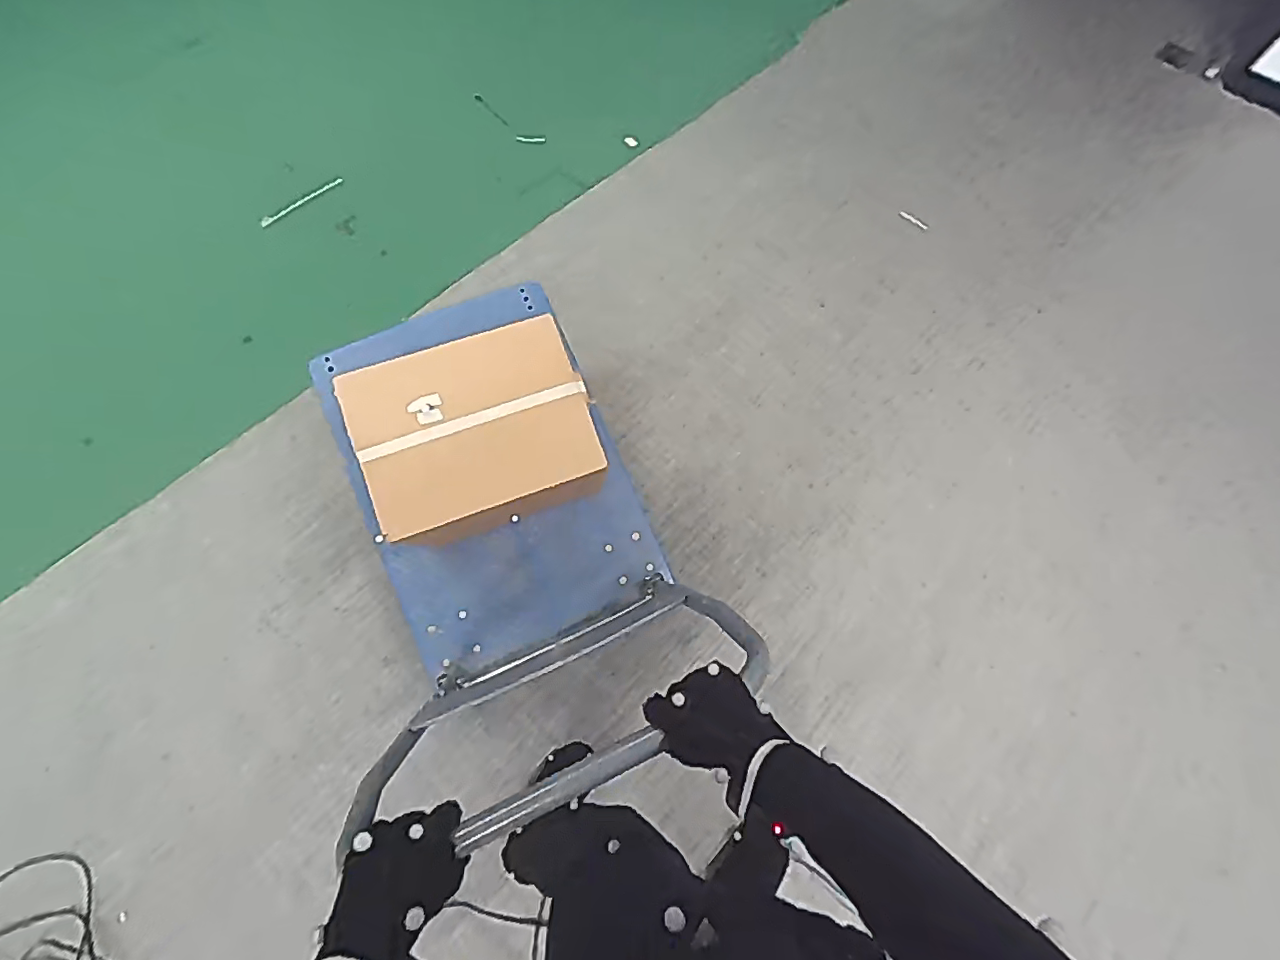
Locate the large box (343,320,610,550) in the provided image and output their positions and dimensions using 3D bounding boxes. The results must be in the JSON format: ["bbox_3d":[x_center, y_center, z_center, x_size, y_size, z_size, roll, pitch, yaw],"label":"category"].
[{"bbox_3d":[-0.303,-0.071,1.112,0.408,0.320,0.320,-20,84,-8],"label":"large box"}]
